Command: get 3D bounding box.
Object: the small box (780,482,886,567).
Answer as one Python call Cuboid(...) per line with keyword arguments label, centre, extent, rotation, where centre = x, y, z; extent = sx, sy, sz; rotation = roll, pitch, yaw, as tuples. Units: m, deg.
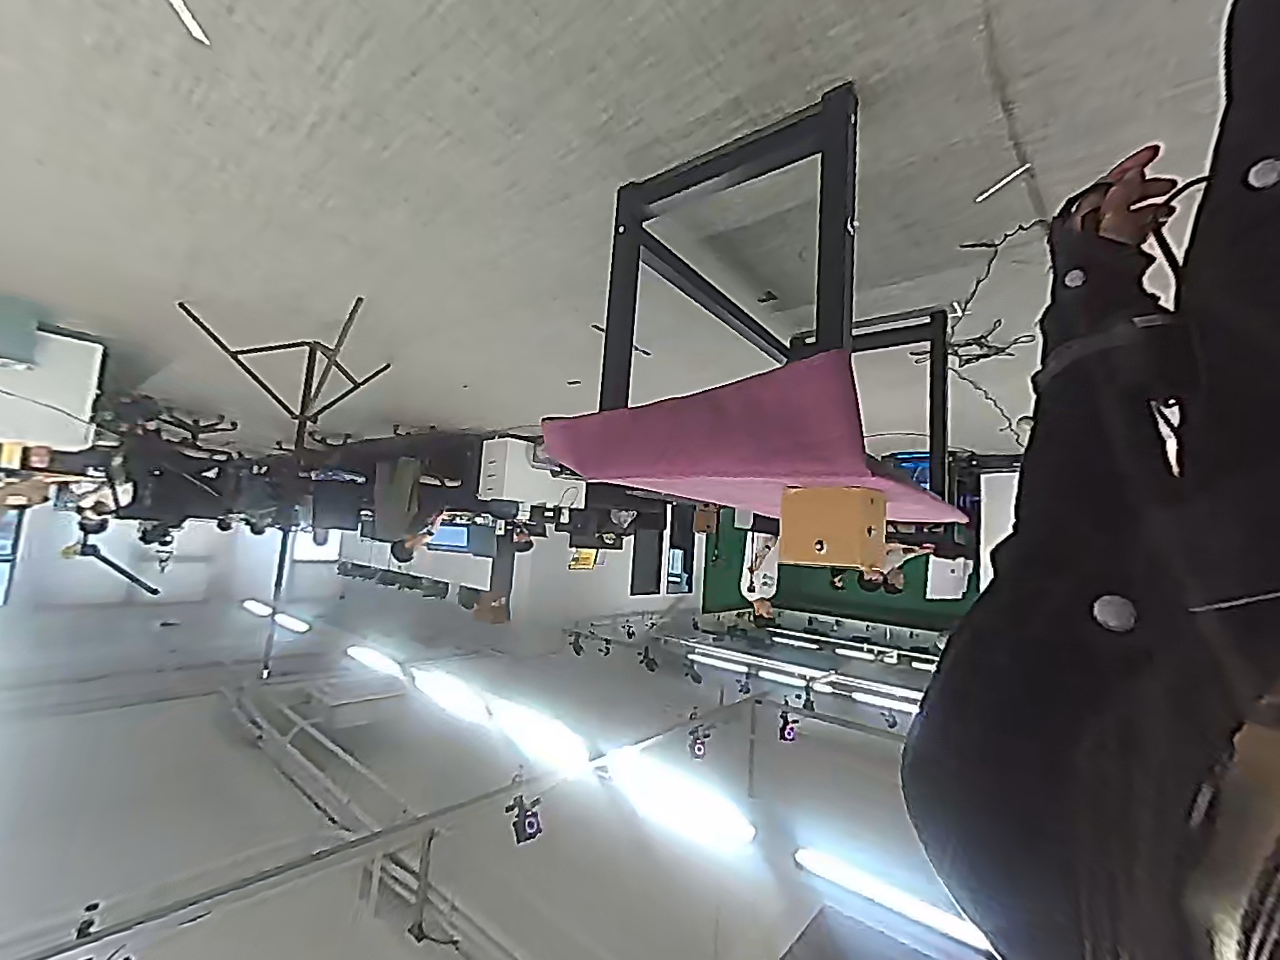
Cuboid(label="small box", centre=(0.418, 0.095, 1.168), extent=(0.179, 0.176, 0.168), rotation=(-1, 172, 41))
